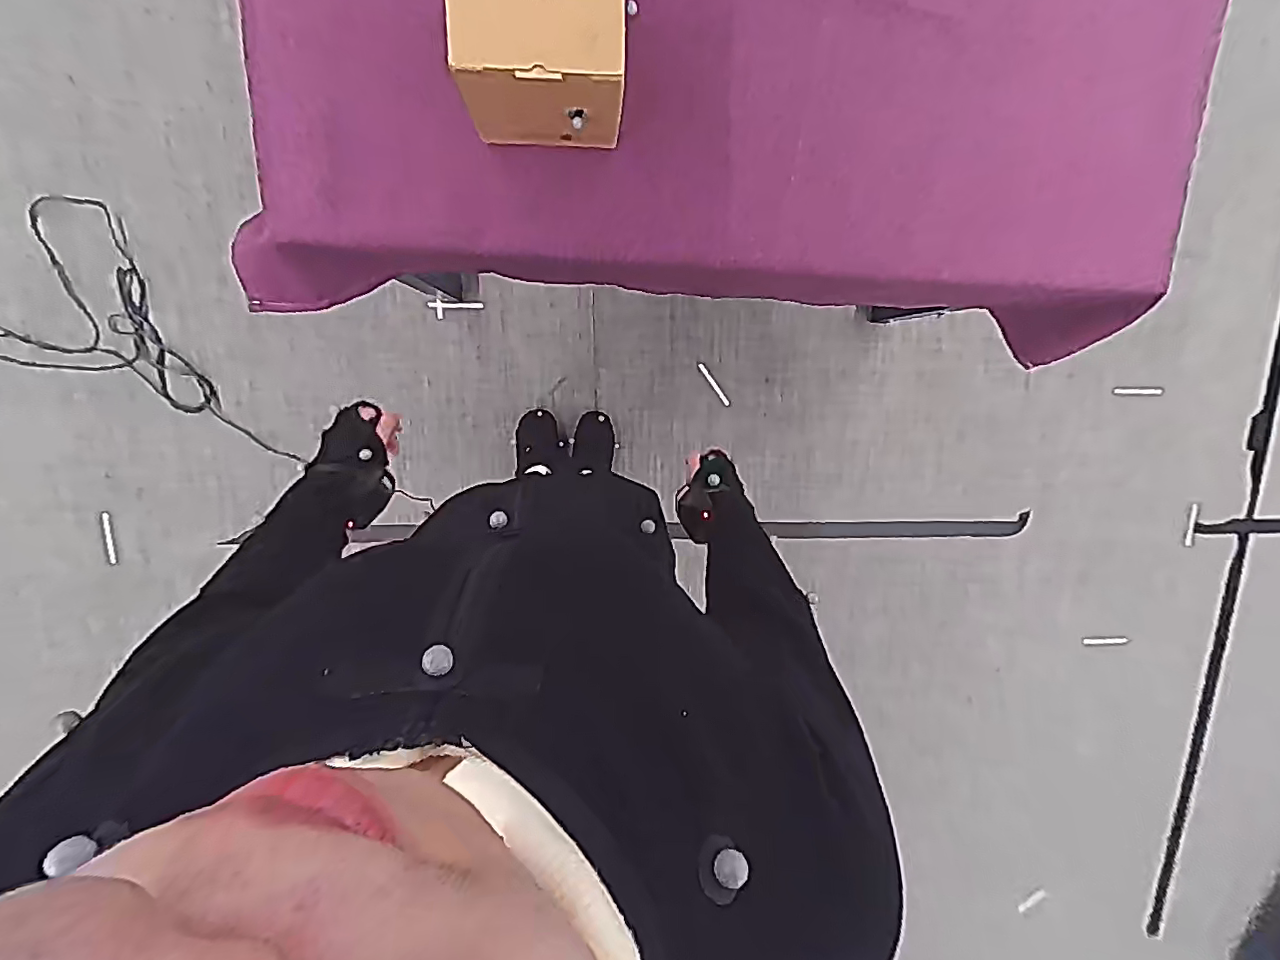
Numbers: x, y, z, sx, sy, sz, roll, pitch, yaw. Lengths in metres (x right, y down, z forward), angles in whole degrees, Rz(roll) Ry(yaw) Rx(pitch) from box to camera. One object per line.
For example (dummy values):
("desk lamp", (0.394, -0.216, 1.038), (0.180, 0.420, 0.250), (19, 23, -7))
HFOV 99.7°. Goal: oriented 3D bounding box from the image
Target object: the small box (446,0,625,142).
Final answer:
("small box", (-0.101, -0.482, 0.567), (0.168, 0.176, 0.179), (0, 101, -6))
